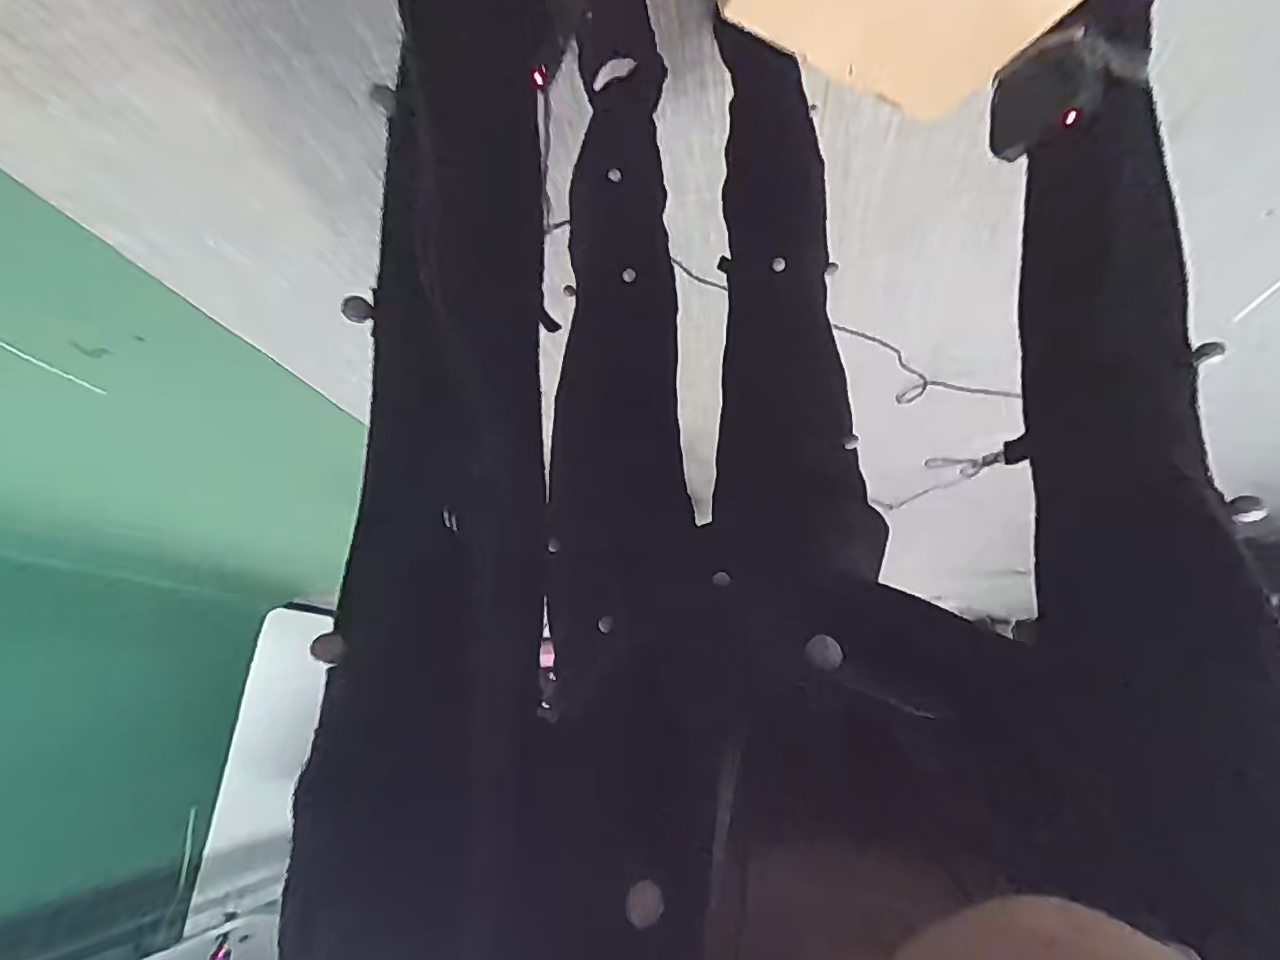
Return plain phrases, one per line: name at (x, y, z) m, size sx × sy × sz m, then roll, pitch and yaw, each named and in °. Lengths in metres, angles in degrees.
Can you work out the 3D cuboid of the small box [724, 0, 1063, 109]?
small box at (0.149, -0.337, 0.252) m, size 0.168 × 0.176 × 0.179 m, roll 7°, pitch 168°, yaw -23°
